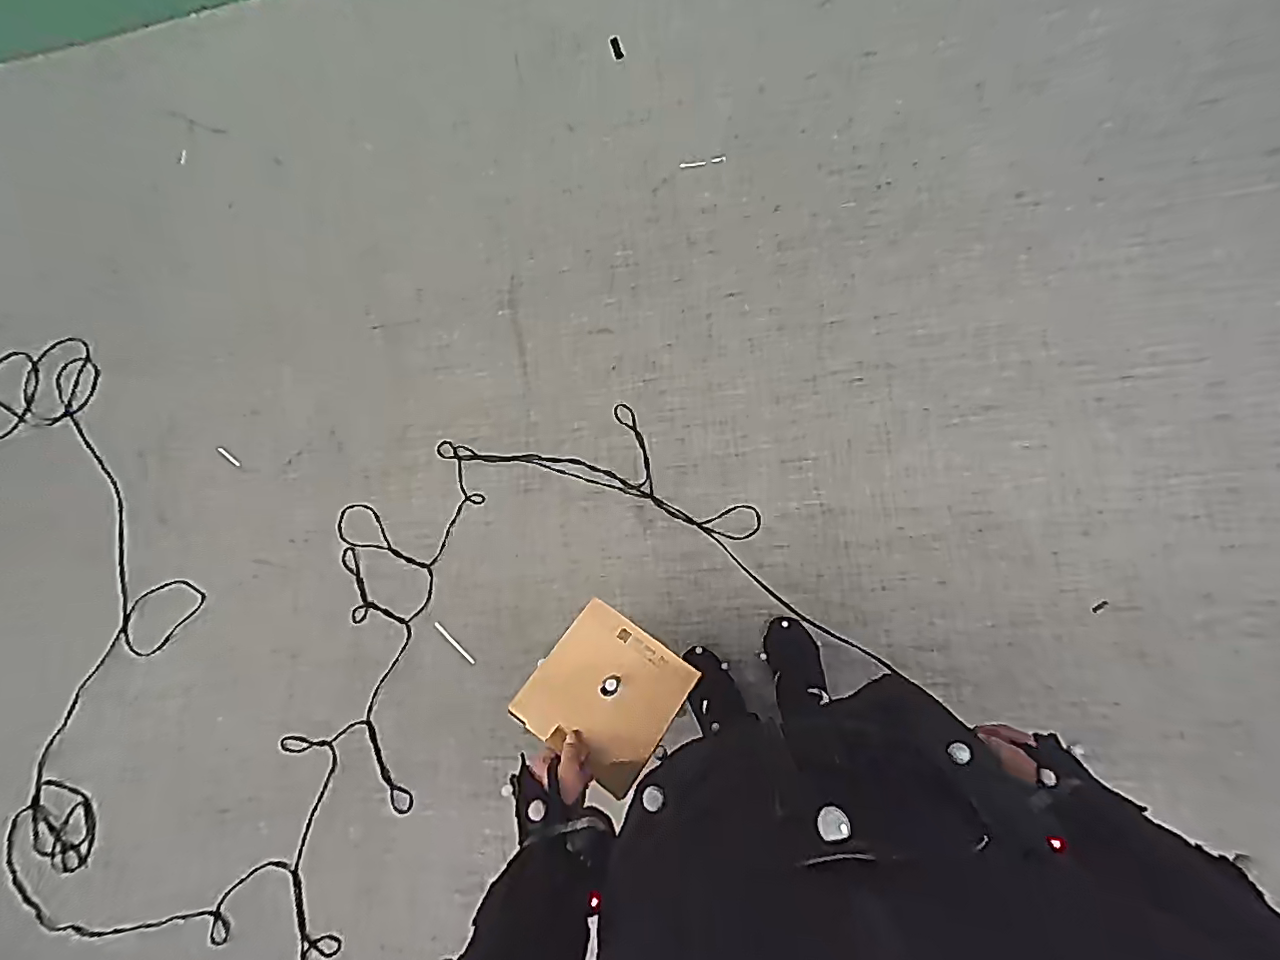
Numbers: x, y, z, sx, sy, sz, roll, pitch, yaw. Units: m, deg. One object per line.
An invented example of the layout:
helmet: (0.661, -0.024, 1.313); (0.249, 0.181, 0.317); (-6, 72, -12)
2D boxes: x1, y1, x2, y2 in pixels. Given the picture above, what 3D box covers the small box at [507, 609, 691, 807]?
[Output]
small box: (-0.050, 0.294, 0.712); (0.168, 0.179, 0.176); (33, 64, 10)
